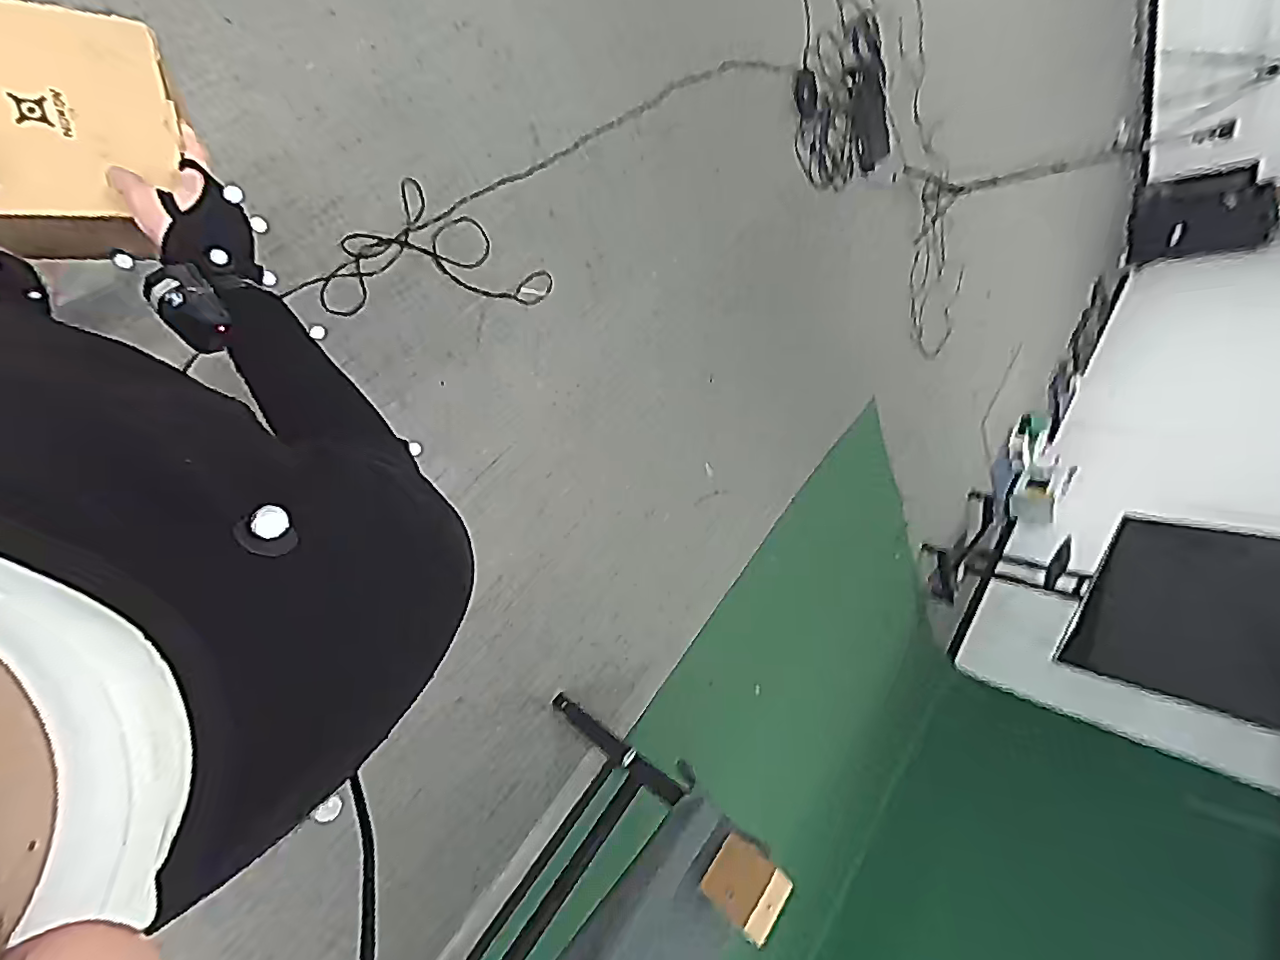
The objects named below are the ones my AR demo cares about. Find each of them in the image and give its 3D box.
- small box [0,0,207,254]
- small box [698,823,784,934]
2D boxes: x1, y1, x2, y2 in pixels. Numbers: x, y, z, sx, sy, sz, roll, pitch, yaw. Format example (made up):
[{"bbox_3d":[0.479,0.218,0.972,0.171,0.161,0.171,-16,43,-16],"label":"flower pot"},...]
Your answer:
[{"bbox_3d":[-0.548,-0.325,0.524,0.179,0.176,0.168,-12,103,-30],"label":"small box"},{"bbox_3d":[0.292,1.167,1.592,0.179,0.176,0.168,-46,128,-25],"label":"small box"}]
